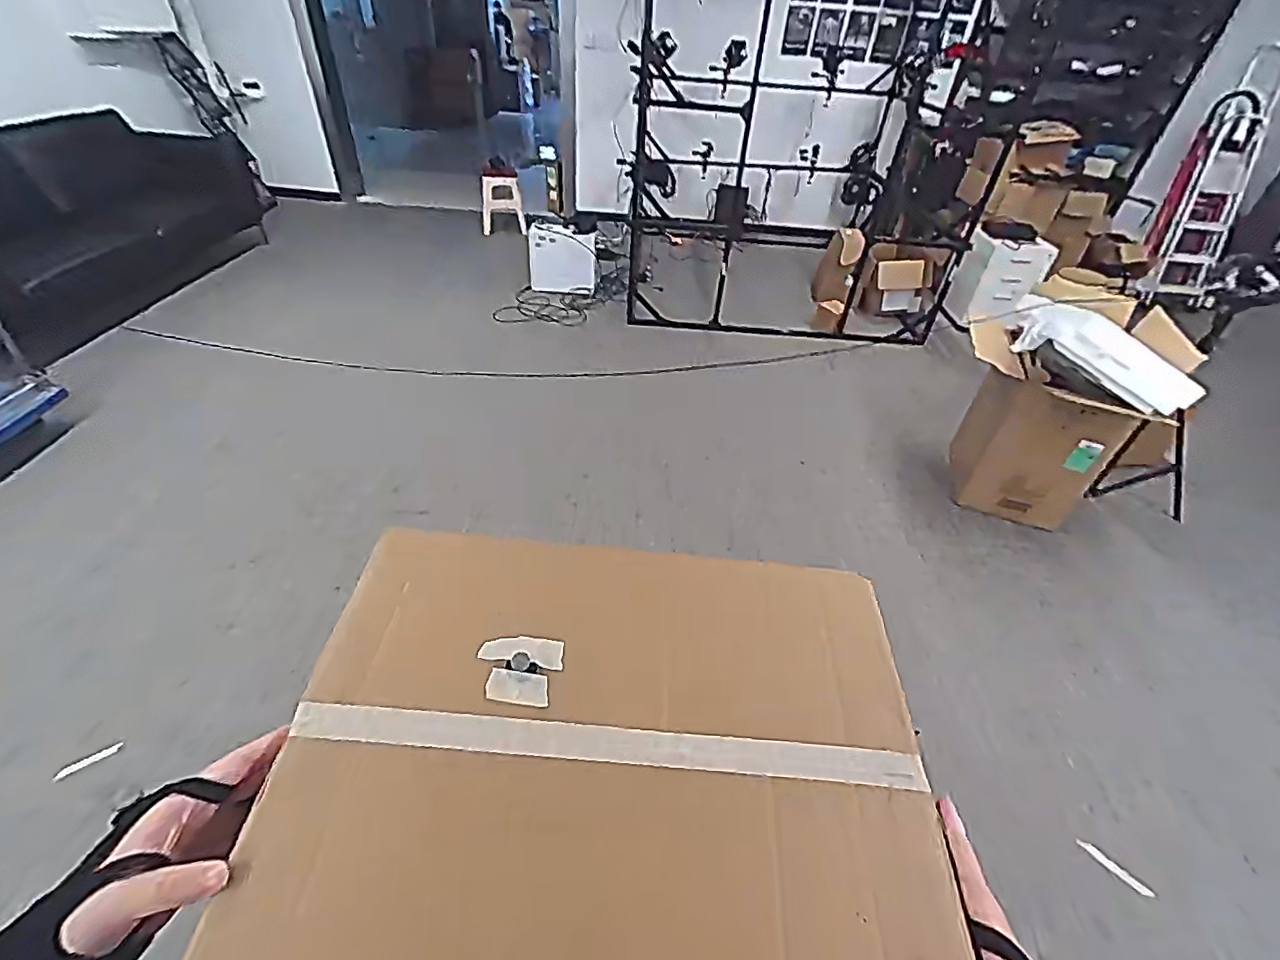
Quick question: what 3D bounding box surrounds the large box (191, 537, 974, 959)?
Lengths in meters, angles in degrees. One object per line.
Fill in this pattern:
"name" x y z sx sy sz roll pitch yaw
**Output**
"large box" -0.024 0.271 0.448 0.408 0.320 0.320 5 47 1
